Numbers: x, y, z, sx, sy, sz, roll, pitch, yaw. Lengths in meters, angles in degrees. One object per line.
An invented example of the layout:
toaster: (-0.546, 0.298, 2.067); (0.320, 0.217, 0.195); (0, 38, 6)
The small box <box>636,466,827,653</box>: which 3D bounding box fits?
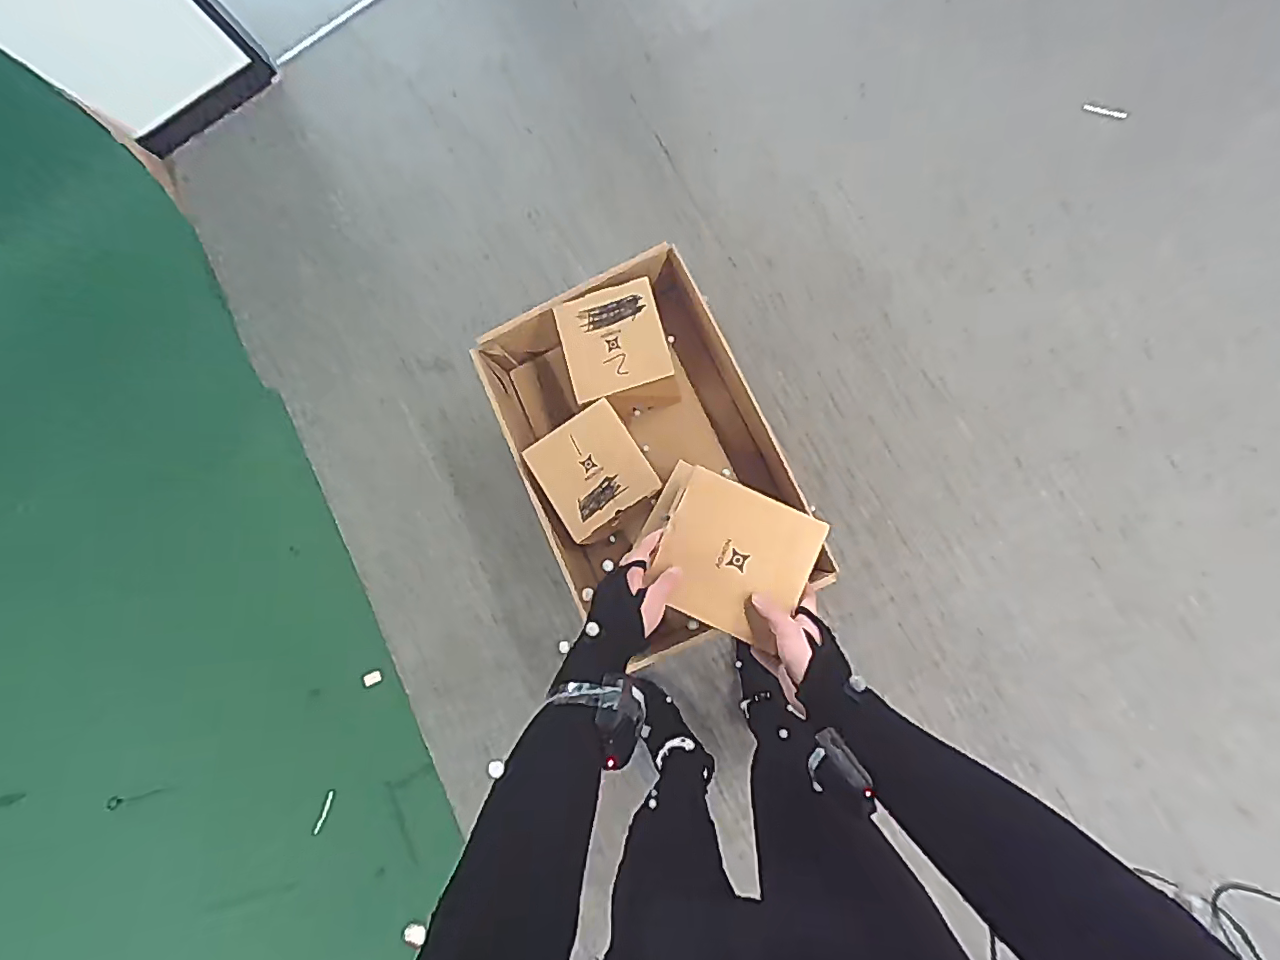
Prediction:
small box: (0.109, 0.097, 0.706); (0.179, 0.176, 0.168); (25, 85, 4)
